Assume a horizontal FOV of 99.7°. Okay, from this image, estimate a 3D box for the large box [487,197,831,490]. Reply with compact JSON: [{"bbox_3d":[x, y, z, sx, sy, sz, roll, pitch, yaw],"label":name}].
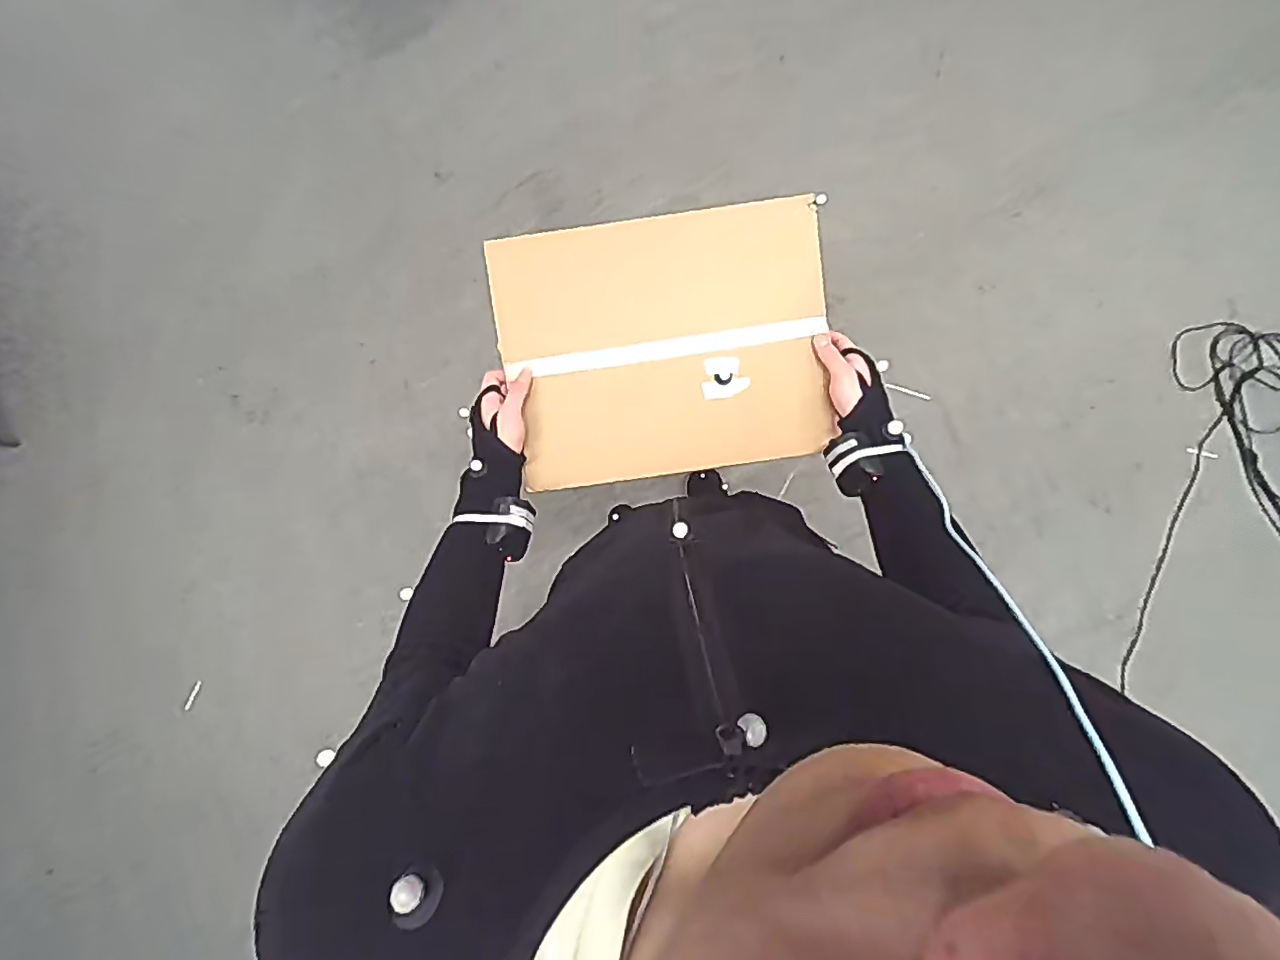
[{"bbox_3d":[0.026,-0.182,0.830,0.408,0.320,0.320,-9,97,0],"label":"large box"}]
